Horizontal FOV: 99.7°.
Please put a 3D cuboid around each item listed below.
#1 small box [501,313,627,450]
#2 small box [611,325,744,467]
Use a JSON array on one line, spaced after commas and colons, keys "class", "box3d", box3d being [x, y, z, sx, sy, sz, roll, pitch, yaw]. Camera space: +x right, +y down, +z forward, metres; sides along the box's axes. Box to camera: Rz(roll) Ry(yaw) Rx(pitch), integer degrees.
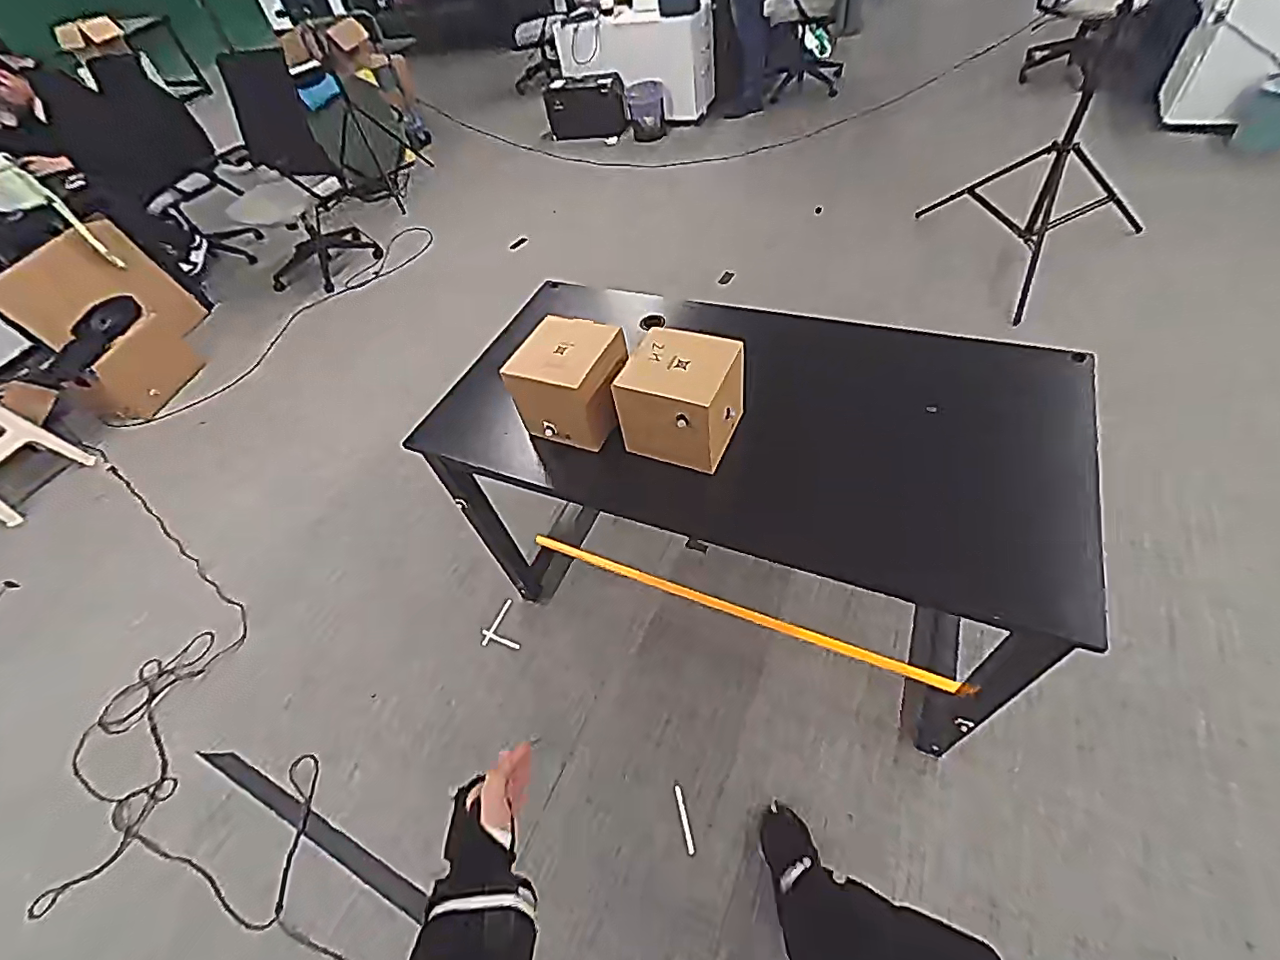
[{"class": "small box", "box3d": [-0.129, -0.187, 1.028, 0.168, 0.176, 0.179, 14, 57, 22]}, {"class": "small box", "box3d": [0.074, -0.145, 0.955, 0.179, 0.176, 0.168, 16, 56, 22]}]
